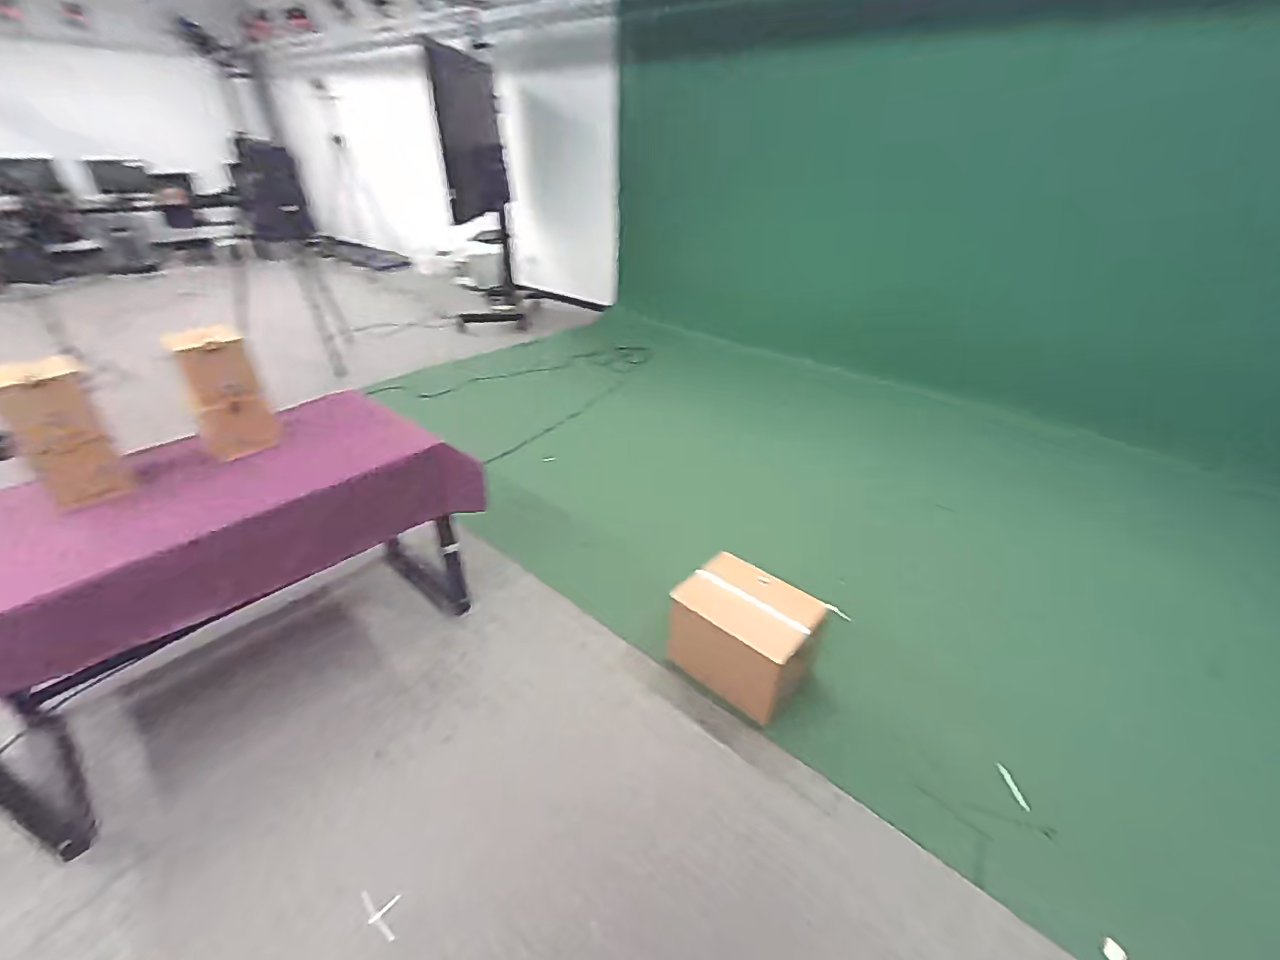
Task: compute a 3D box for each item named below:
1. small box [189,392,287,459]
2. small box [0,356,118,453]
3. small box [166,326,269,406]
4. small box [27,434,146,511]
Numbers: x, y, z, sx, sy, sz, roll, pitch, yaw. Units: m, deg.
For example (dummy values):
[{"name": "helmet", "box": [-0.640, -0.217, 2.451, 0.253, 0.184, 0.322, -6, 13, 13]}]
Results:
[{"name": "small box", "box": [-1.207, -0.183, 1.628, 0.179, 0.176, 0.168, 25, 40, 32]}, {"name": "small box", "box": [-1.422, -0.182, 1.315, 0.179, 0.176, 0.168, 27, 39, 34]}, {"name": "small box", "box": [-1.205, -0.327, 1.548, 0.179, 0.176, 0.168, 27, 41, 34]}, {"name": "small box", "box": [-1.431, -0.041, 1.400, 0.179, 0.176, 0.168, 26, 39, 34]}]
